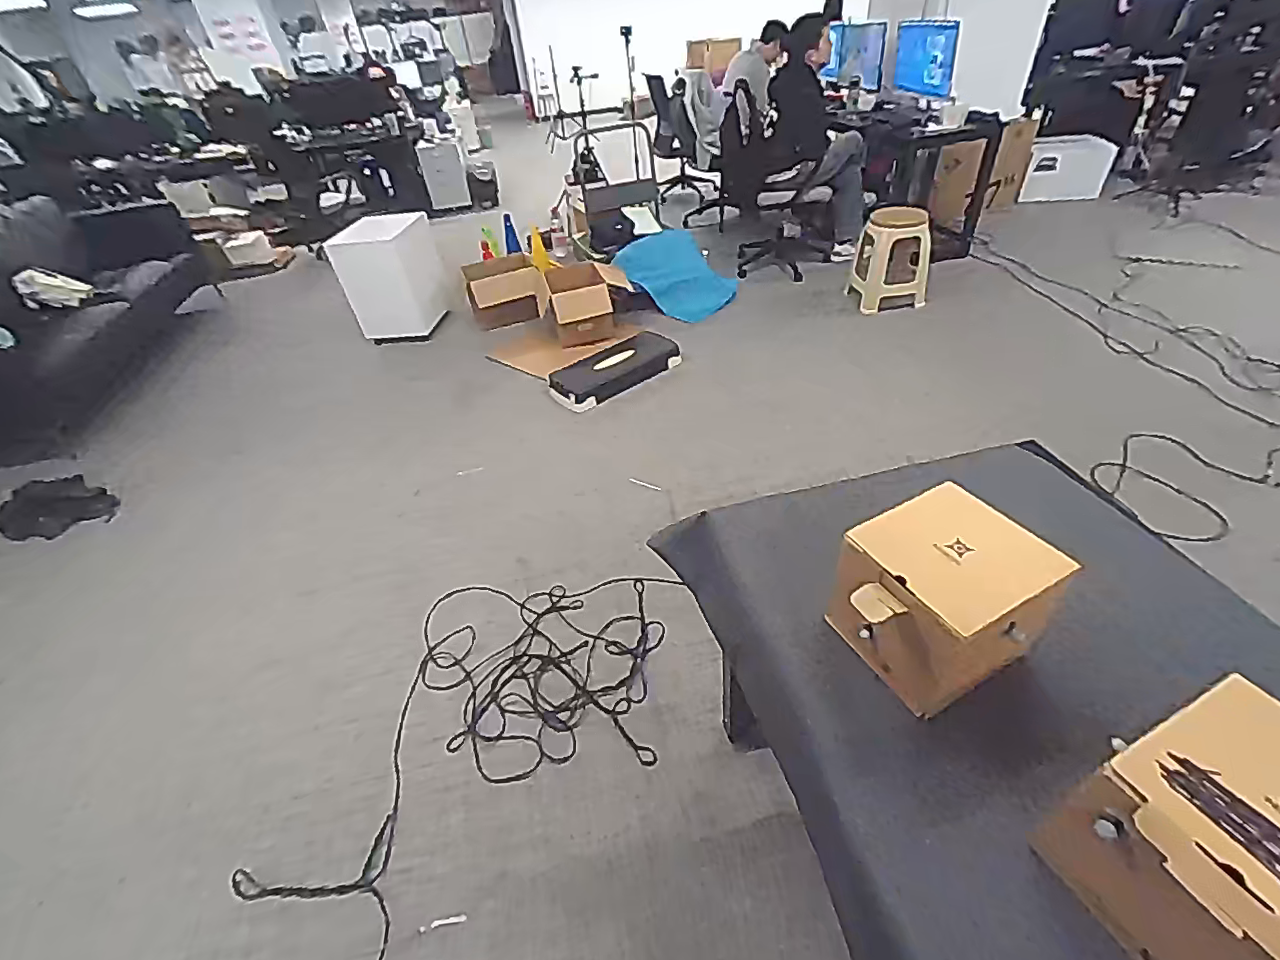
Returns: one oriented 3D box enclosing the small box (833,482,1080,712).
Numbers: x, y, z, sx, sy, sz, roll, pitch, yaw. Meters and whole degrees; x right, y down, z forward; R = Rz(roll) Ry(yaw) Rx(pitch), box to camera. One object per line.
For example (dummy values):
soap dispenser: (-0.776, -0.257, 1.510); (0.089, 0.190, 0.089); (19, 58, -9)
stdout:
small box: (0.357, 0.137, 0.648); (0.179, 0.176, 0.168); (-23, 43, -17)
